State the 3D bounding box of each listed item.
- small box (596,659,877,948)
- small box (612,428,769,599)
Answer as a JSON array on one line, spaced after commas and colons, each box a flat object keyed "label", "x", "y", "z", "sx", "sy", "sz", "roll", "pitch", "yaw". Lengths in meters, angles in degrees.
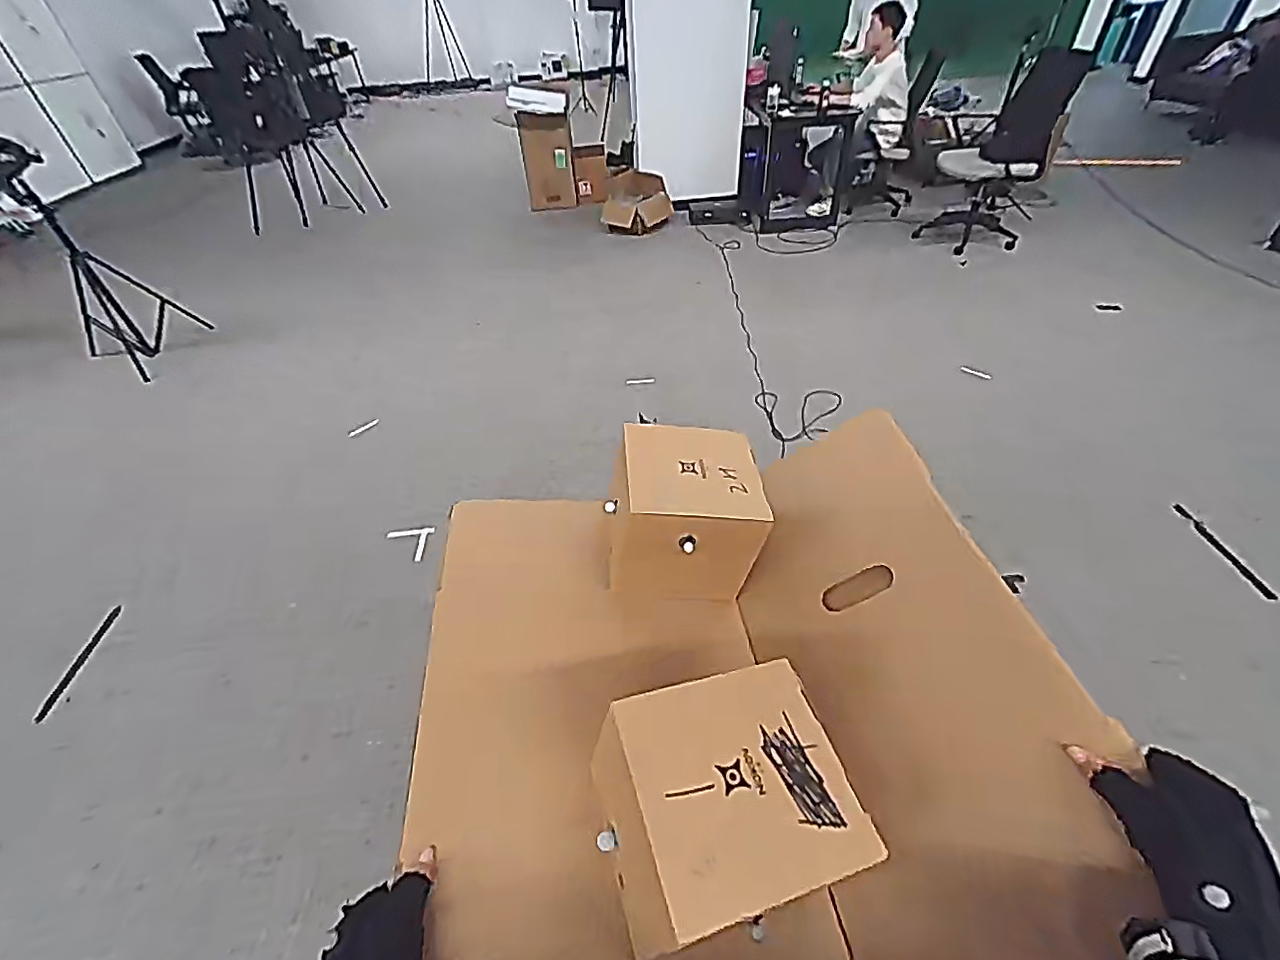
[{"label": "small box", "x": 0.068, "y": 0.293, "z": 0.497, "sx": 0.179, "sy": 0.176, "sz": 0.168, "roll": -7, "pitch": 47, "yaw": -19}, {"label": "small box", "x": 0.055, "y": 0.050, "z": 0.748, "sx": 0.179, "sy": 0.176, "sz": 0.168, "roll": 5, "pitch": 44, "yaw": -9}]
